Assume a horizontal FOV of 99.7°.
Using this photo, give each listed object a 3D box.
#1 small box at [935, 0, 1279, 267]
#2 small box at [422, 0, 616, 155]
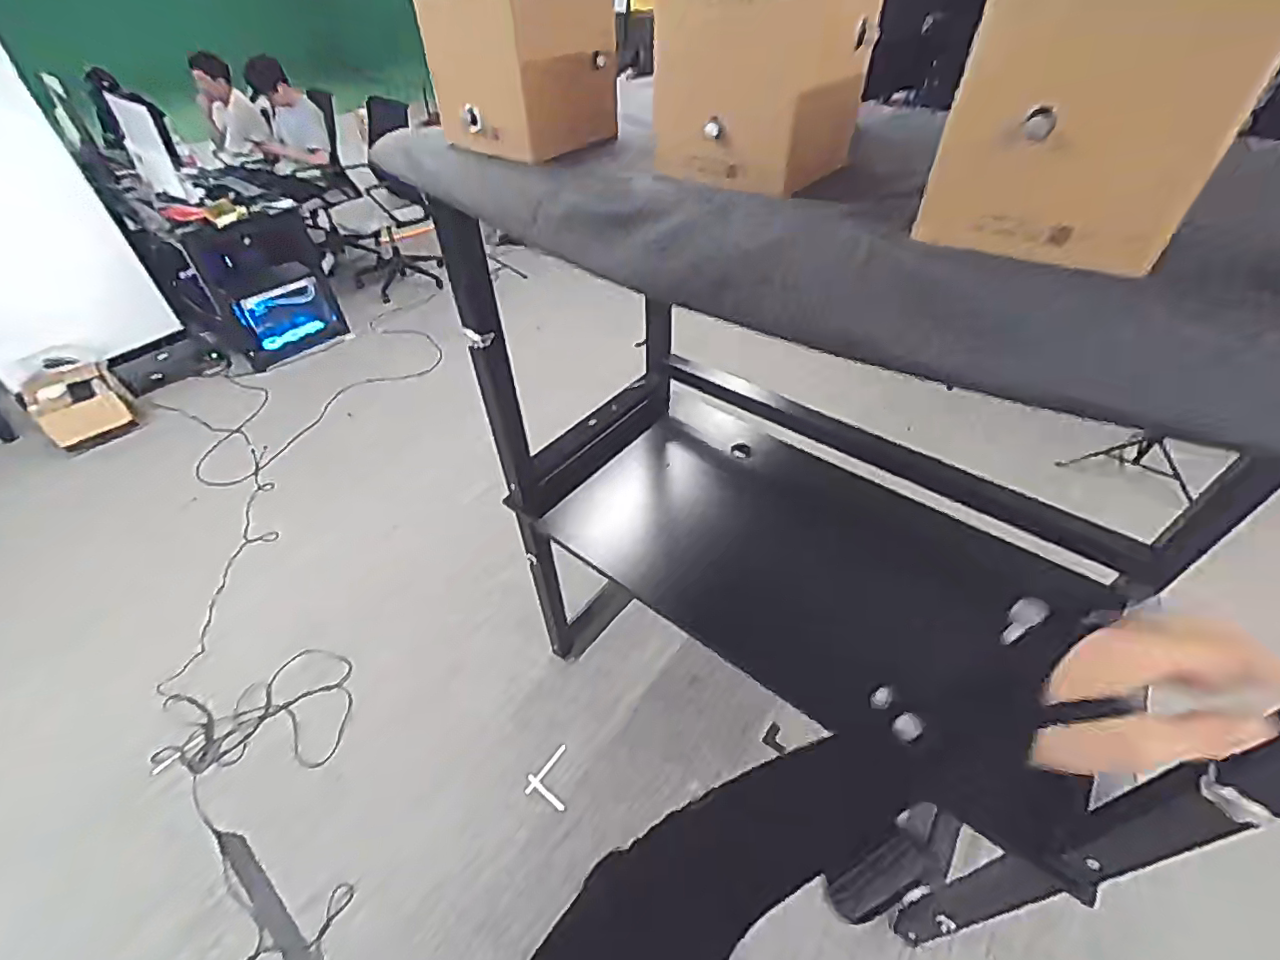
[{"bbox_3d":[0.352,-0.280,0.412,0.168,0.176,0.179,27,49,26],"label":"small box"},{"bbox_3d":[-0.145,-0.527,0.673,0.168,0.176,0.179,26,50,25],"label":"small box"}]
